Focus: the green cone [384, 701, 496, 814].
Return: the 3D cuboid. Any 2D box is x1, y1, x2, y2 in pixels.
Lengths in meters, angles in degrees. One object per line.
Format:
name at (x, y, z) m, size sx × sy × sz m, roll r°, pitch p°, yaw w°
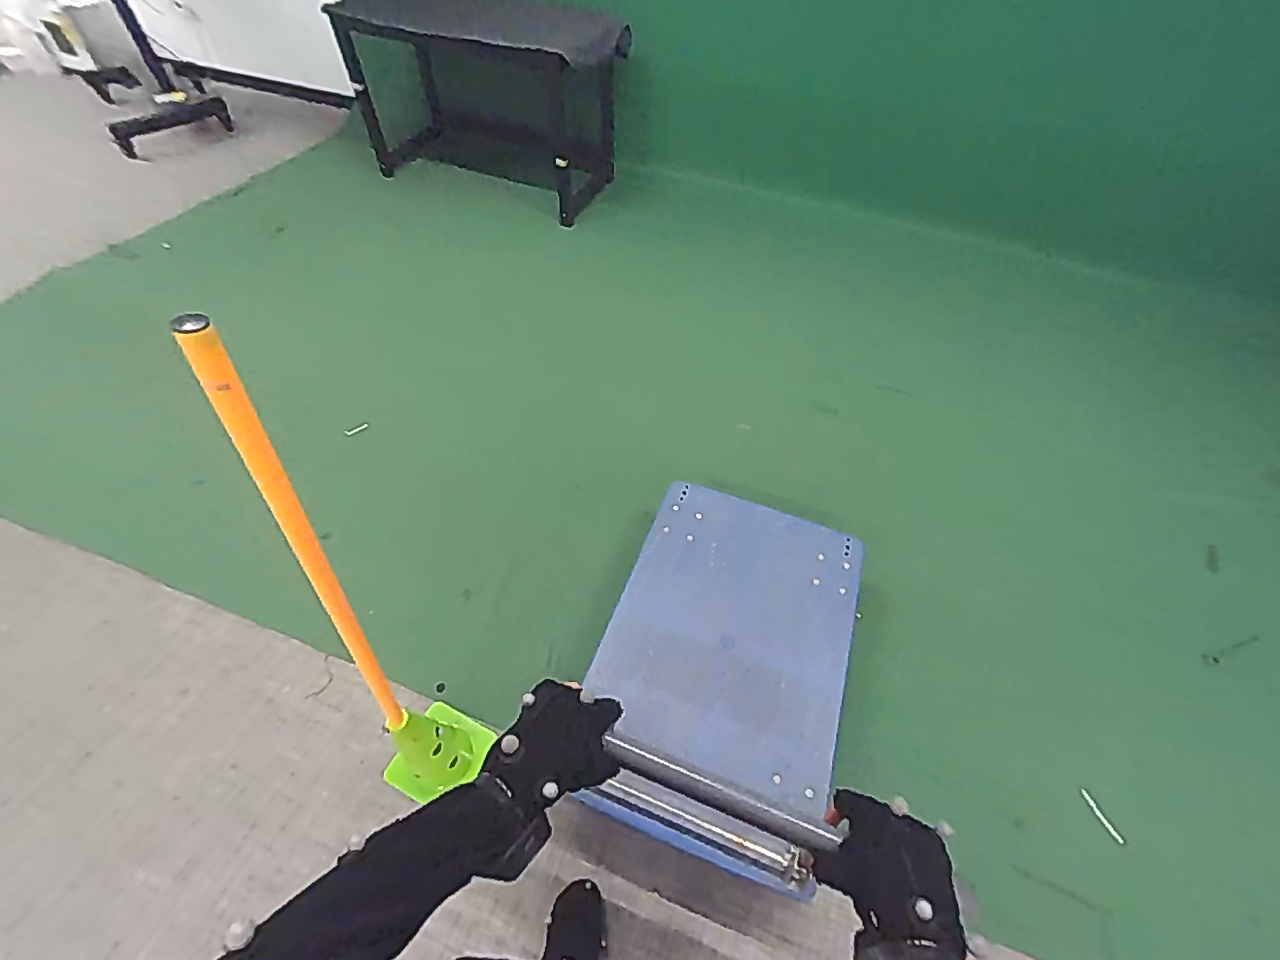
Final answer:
green cone at (-0.470, 0.555, 1.168) m, size 0.202 × 0.368 × 0.200 m, roll 22°, pitch 53°, yaw 14°
